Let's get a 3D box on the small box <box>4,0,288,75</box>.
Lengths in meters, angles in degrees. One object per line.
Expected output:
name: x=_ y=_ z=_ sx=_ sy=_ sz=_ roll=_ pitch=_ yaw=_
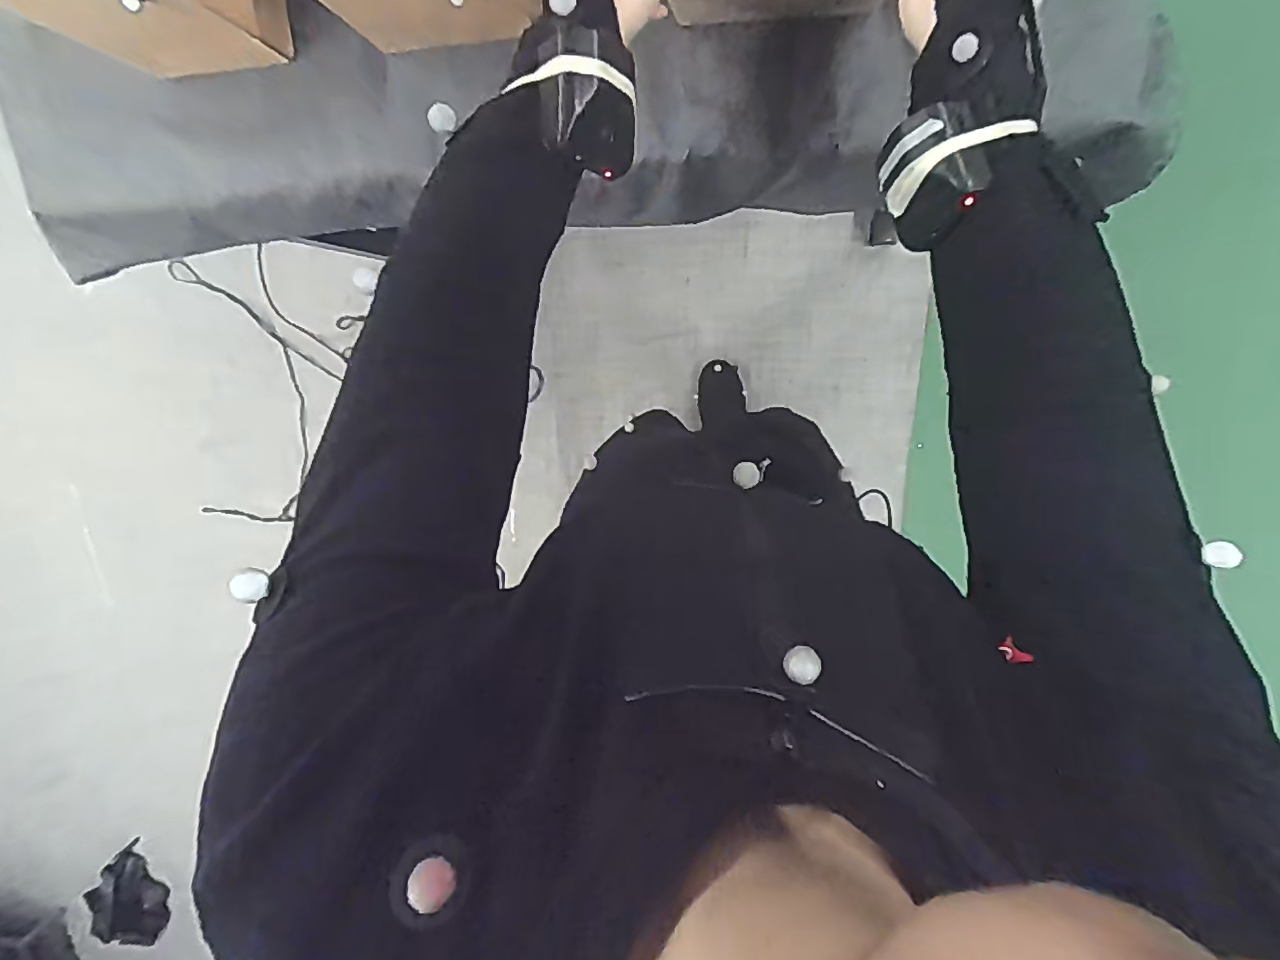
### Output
small box: x=-0.473 y=-0.508 z=0.498 sx=0.179 sy=0.176 sz=0.168 roll=1 pitch=104 yaw=10

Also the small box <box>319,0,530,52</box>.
small box: x=-0.198 y=-0.495 z=0.445 sx=0.179 sy=0.176 sz=0.168 roll=2 pitch=104 yaw=12
